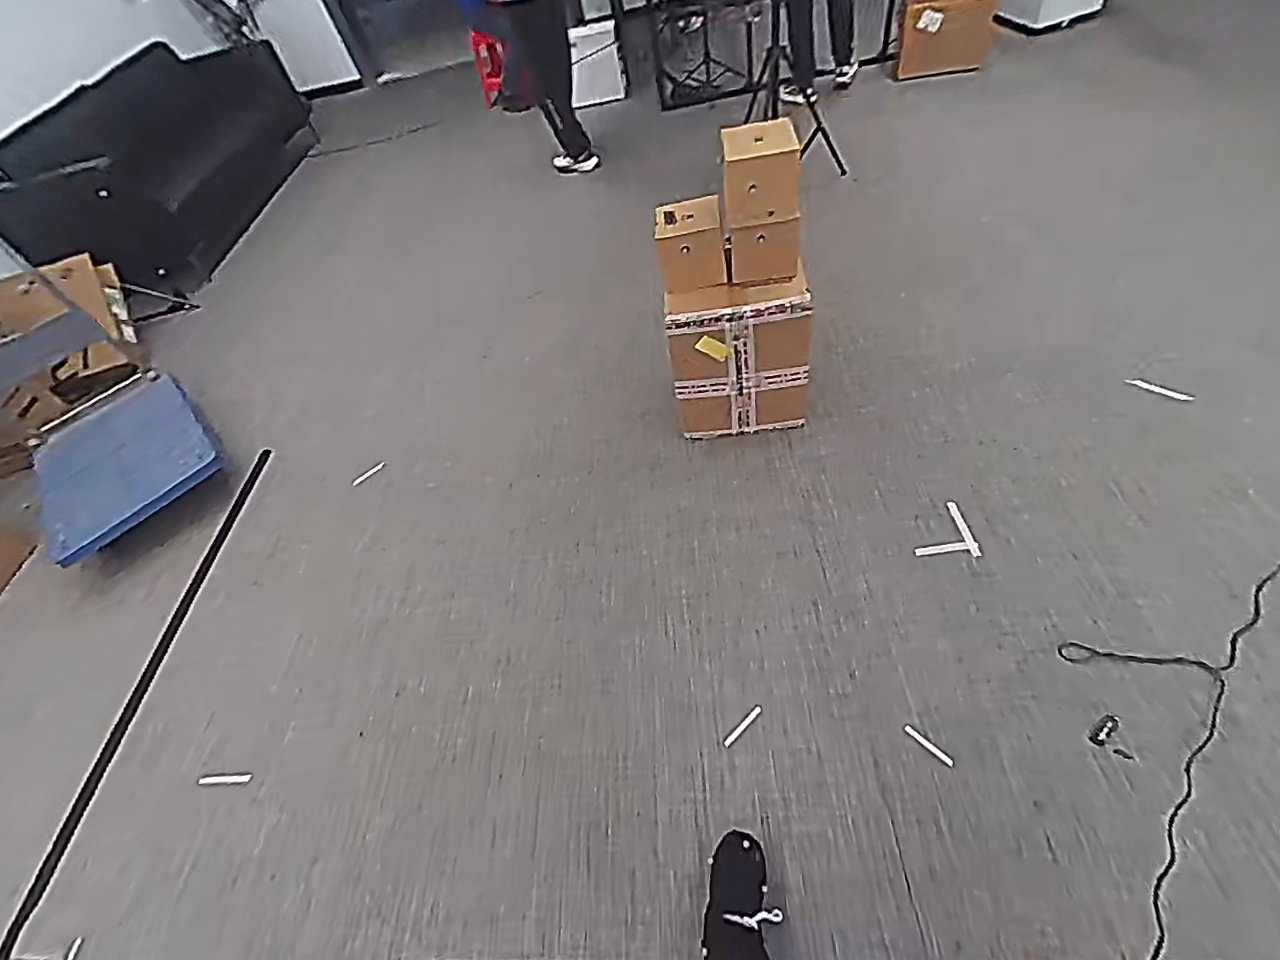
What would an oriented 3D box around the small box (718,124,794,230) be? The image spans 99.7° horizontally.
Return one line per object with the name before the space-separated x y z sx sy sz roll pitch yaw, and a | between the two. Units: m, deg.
small box | 0.285 -0.738 1.334 0.168 0.176 0.179 -6 52 9
